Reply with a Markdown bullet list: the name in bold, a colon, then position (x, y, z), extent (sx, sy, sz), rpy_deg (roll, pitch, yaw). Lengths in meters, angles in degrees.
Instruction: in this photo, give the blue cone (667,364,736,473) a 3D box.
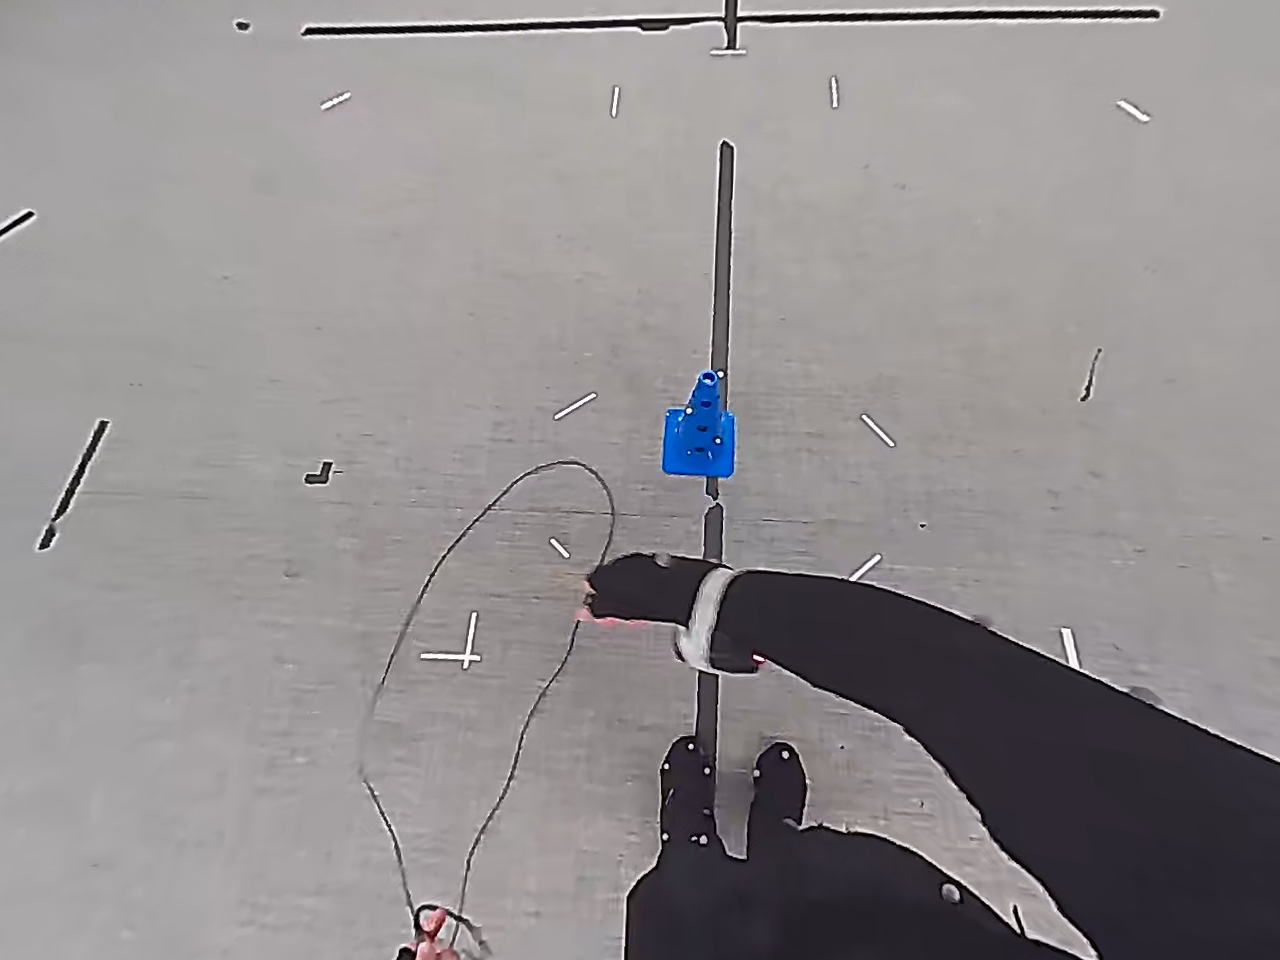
- **blue cone**: position (0.159, -0.163, 1.338), extent (0.193, 0.380, 0.192), rpy_deg (1, 70, 4)
